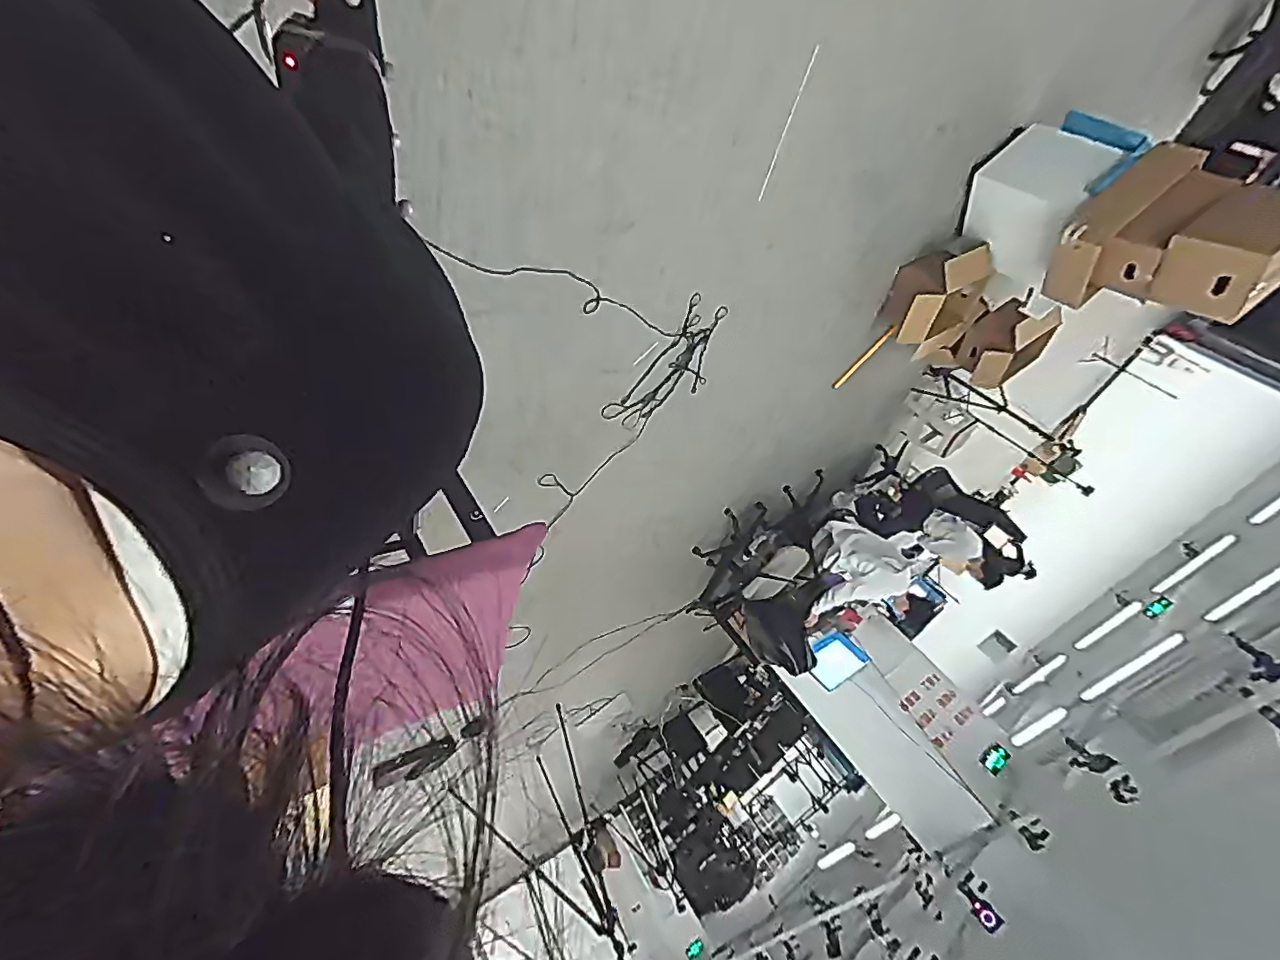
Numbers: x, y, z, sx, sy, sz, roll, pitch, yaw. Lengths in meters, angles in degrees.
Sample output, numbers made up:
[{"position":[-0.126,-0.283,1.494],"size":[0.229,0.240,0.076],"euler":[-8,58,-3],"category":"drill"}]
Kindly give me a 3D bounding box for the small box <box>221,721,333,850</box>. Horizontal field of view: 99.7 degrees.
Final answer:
[{"position":[-0.832,0.693,1.244],"size":[0.179,0.176,0.168],"euler":[-15,138,-38],"category":"small box"}]
